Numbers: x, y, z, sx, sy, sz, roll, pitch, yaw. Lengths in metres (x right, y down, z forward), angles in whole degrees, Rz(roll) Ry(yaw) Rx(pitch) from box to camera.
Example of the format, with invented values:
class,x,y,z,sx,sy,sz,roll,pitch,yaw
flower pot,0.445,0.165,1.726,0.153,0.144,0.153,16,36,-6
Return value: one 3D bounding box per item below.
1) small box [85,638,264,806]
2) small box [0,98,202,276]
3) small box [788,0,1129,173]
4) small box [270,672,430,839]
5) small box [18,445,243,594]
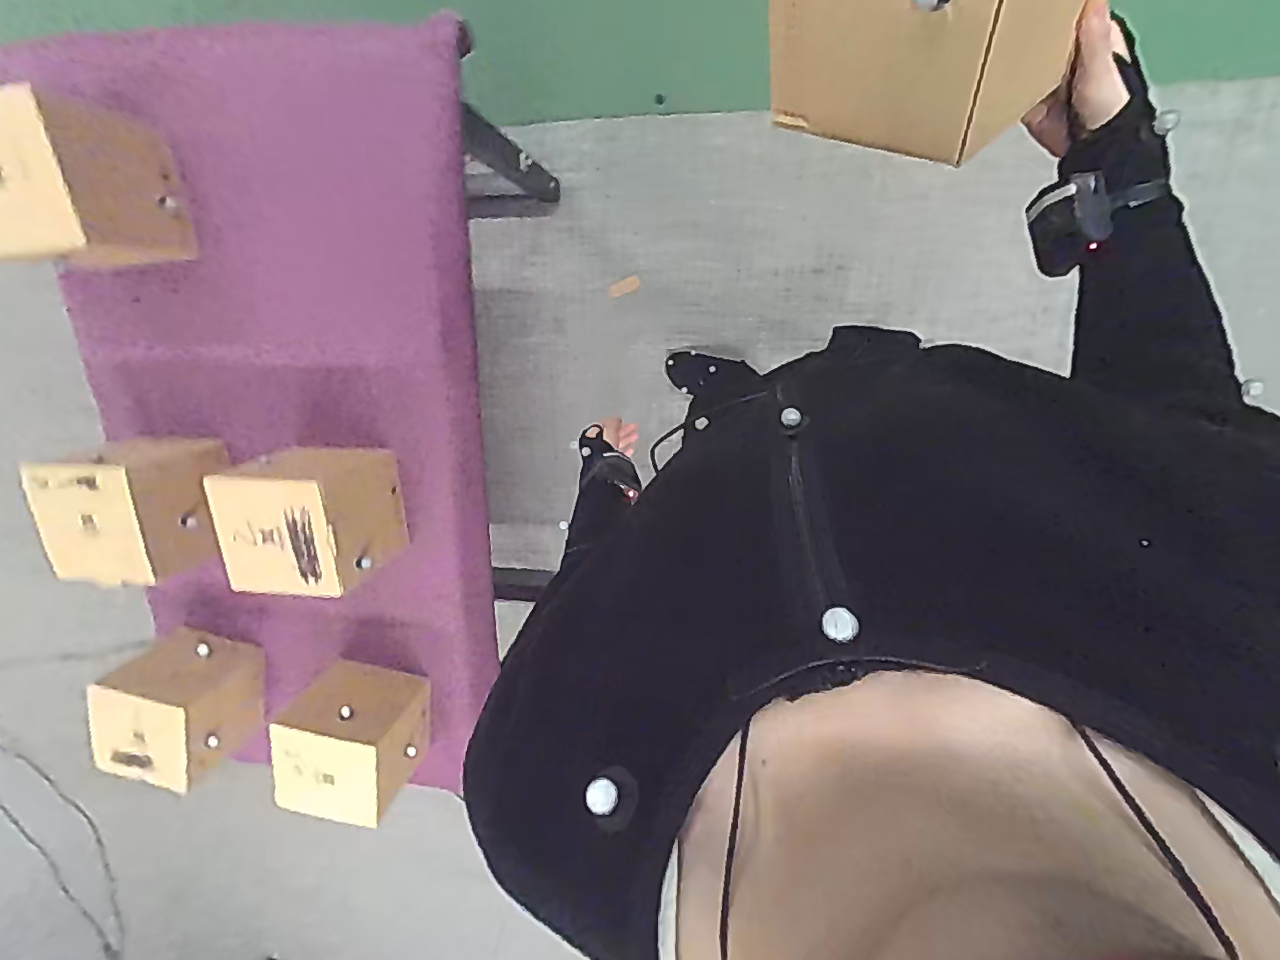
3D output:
class,x,y,z,sx,sy,sz,roll,pitch,yaw
small box,-0.786,0.407,0.931,0.168,0.176,0.179,14,106,2
small box,-0.733,-0.361,0.700,0.179,0.176,0.168,-3,107,7
small box,0.218,-0.351,0.369,0.168,0.179,0.176,-40,54,-16
small box,-0.470,0.447,0.901,0.179,0.176,0.168,10,107,5
small box,-0.754,0.053,0.825,0.168,0.176,0.179,1,107,5
